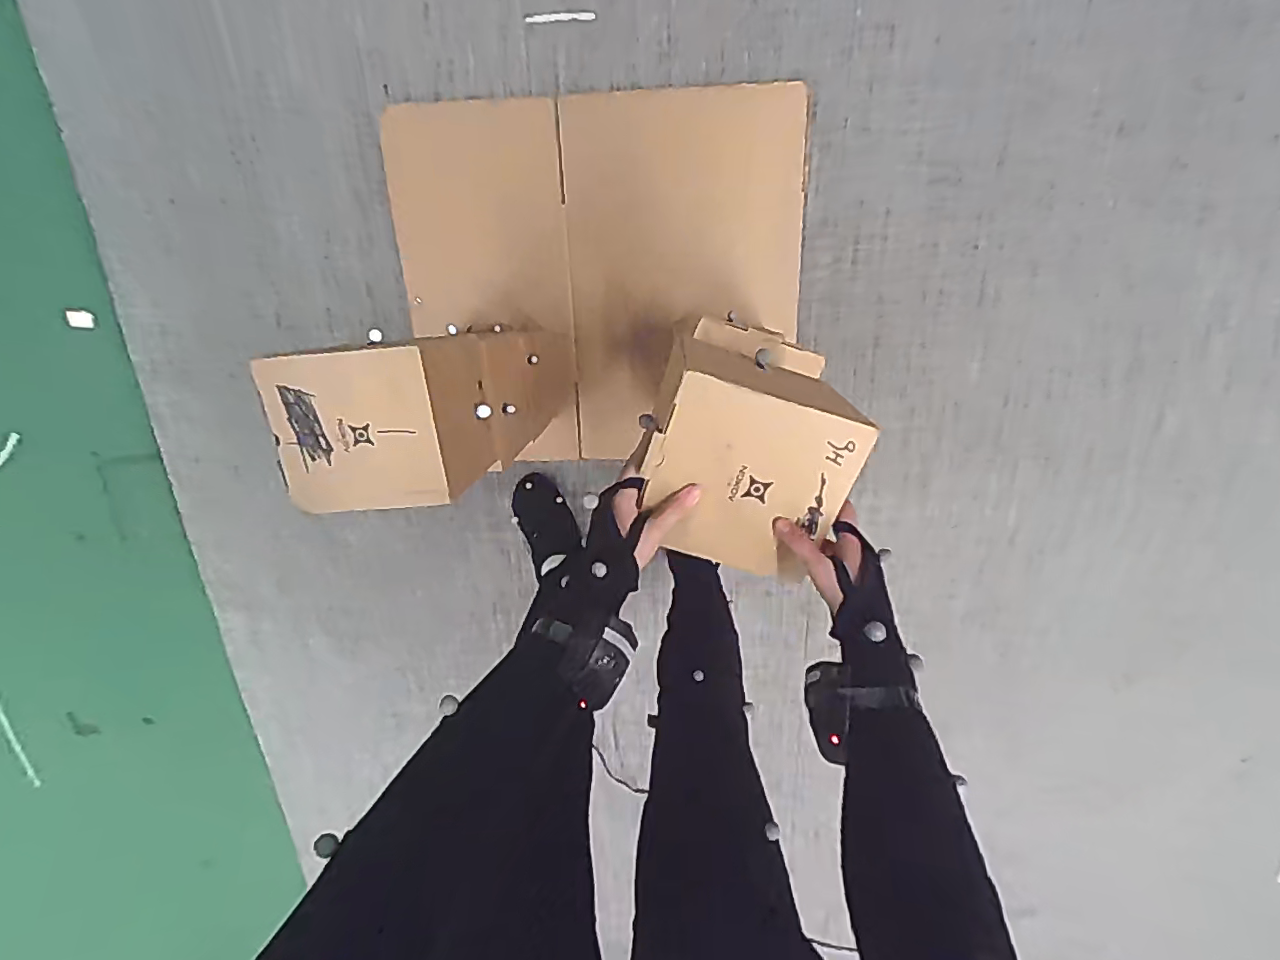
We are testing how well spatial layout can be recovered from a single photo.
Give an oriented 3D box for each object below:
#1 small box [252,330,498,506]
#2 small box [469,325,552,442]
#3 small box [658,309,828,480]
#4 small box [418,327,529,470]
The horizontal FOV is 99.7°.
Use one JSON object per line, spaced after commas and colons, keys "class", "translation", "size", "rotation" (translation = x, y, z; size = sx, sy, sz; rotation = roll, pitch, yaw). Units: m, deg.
{"class": "small box", "translation": [-0.280, -0.078, 0.614], "size": [0.179, 0.176, 0.168], "rotation": [-3, 109, 3]}
{"class": "small box", "translation": [-0.253, -0.168, 0.931], "size": [0.168, 0.176, 0.179], "rotation": [-2, 108, 3]}
{"class": "small box", "translation": [0.127, -0.127, 0.750], "size": [0.168, 0.176, 0.179], "rotation": [19, 109, -5]}
{"class": "small box", "translation": [-0.263, -0.121, 0.773], "size": [0.168, 0.176, 0.179], "rotation": [-2, 108, 3]}
